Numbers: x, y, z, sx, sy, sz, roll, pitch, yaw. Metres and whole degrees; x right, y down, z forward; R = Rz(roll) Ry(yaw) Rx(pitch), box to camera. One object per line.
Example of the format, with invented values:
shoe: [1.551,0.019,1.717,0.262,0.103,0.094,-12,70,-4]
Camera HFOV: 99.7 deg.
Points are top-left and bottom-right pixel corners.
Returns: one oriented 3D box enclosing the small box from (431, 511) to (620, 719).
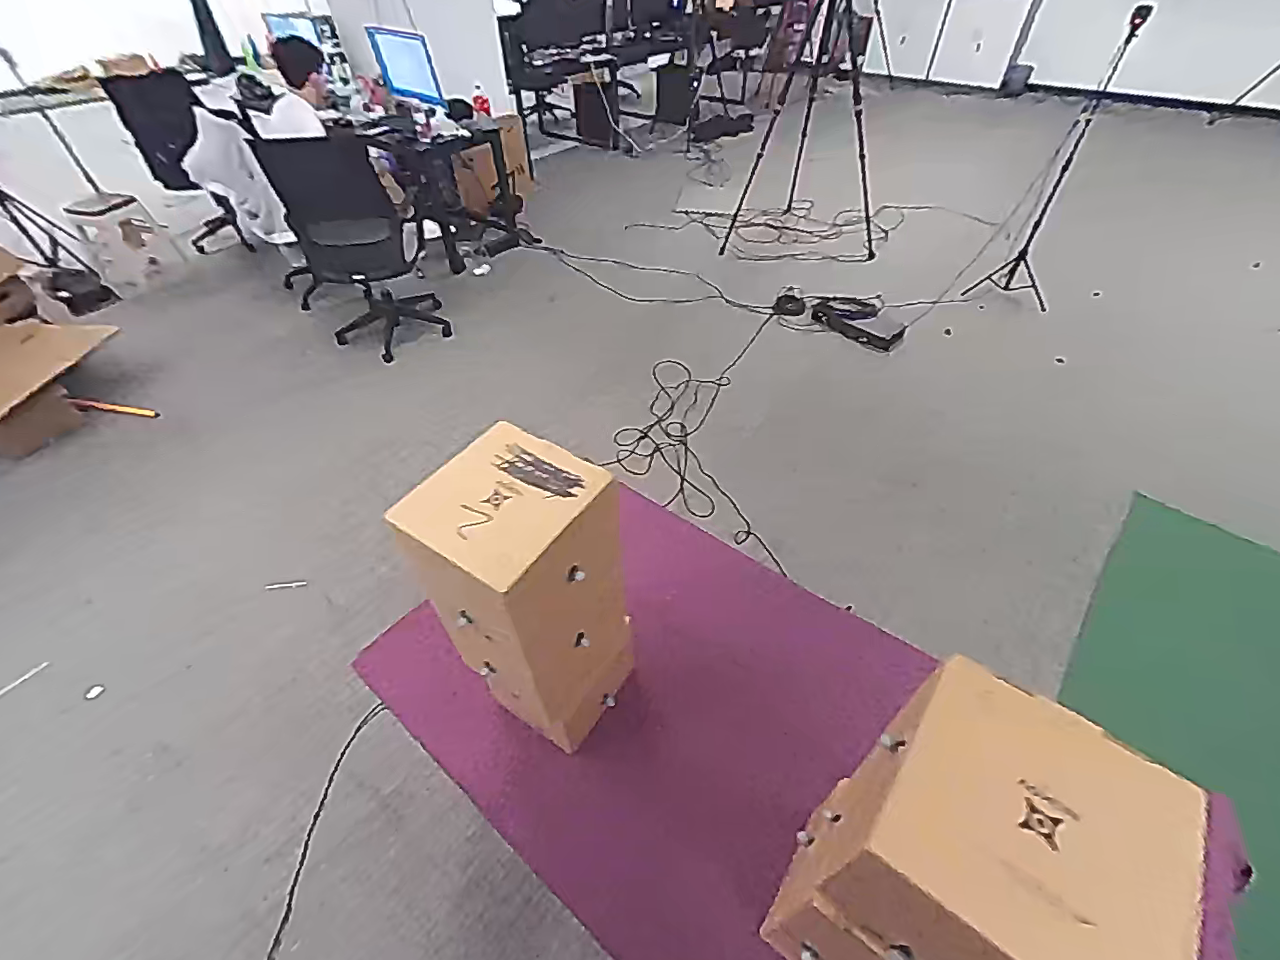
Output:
small box: [-0.136,0.181,0.719,0.168,0.176,0.179,27,52,23]

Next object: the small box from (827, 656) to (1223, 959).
small box: [0.260,0.276,0.397,0.168,0.176,0.179,30,52,27]

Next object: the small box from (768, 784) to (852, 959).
small box: [0.263,0.507,0.629,0.168,0.176,0.179,28,51,25]

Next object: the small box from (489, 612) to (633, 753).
small box: [-0.125,0.284,0.848,0.168,0.176,0.179,25,51,23]

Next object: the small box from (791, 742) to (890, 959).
small box: [0.259,0.395,0.508,0.168,0.176,0.179,30,51,26]
